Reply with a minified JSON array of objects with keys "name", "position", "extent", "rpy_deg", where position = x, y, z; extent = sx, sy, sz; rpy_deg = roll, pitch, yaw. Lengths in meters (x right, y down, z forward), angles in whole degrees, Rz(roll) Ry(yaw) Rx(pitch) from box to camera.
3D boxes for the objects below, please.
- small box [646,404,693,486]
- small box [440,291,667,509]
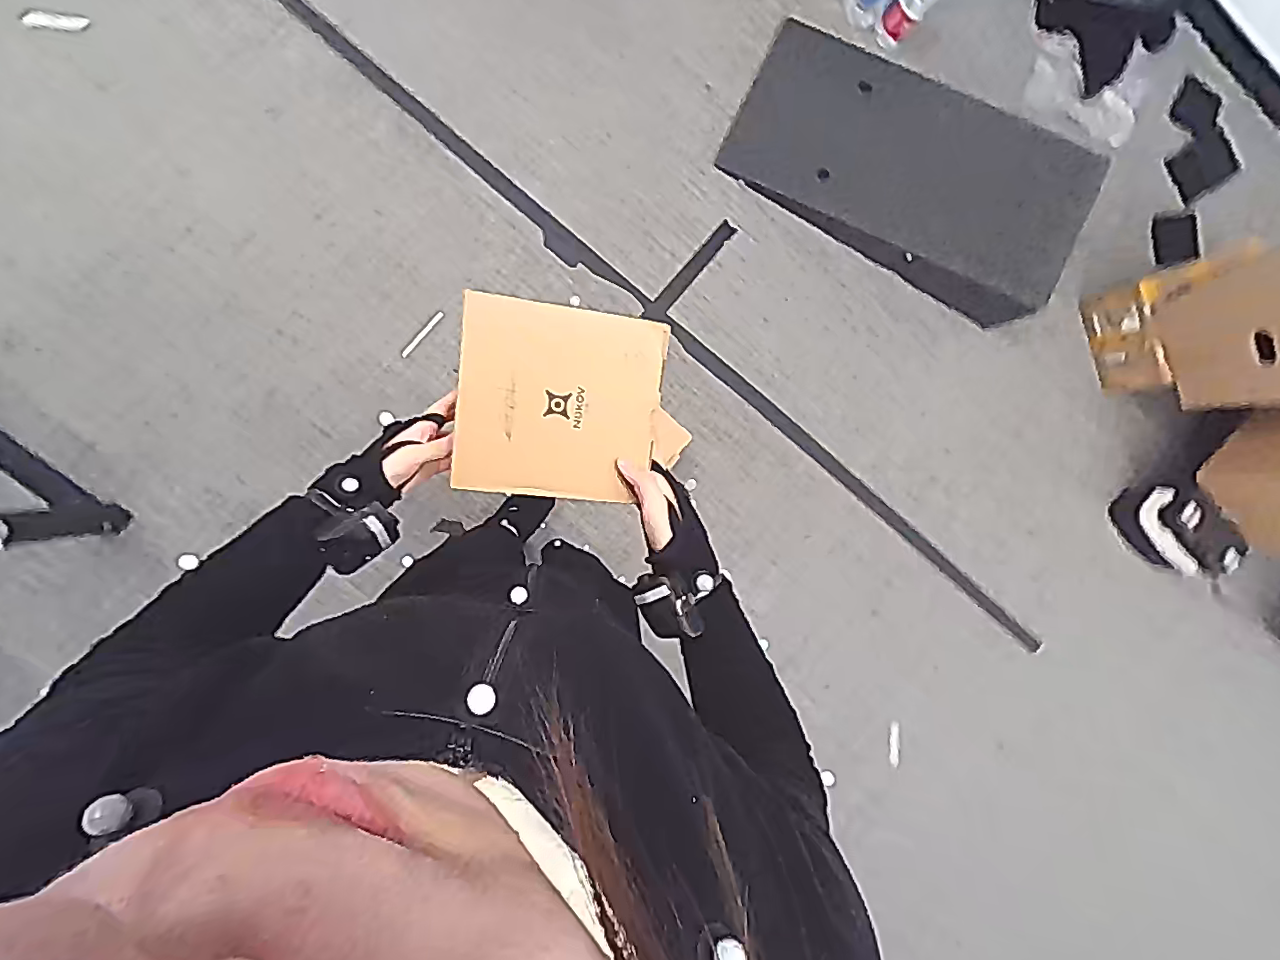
[{"name":"small box","position":[0.006,-0.106,1.418],"extent":[0.179,0.176,0.168],"rpy_deg":[42,85,-9]},{"name":"small box","position":[-0.089,-0.077,0.527],"extent":[0.179,0.176,0.168],"rpy_deg":[5,101,-14]}]
